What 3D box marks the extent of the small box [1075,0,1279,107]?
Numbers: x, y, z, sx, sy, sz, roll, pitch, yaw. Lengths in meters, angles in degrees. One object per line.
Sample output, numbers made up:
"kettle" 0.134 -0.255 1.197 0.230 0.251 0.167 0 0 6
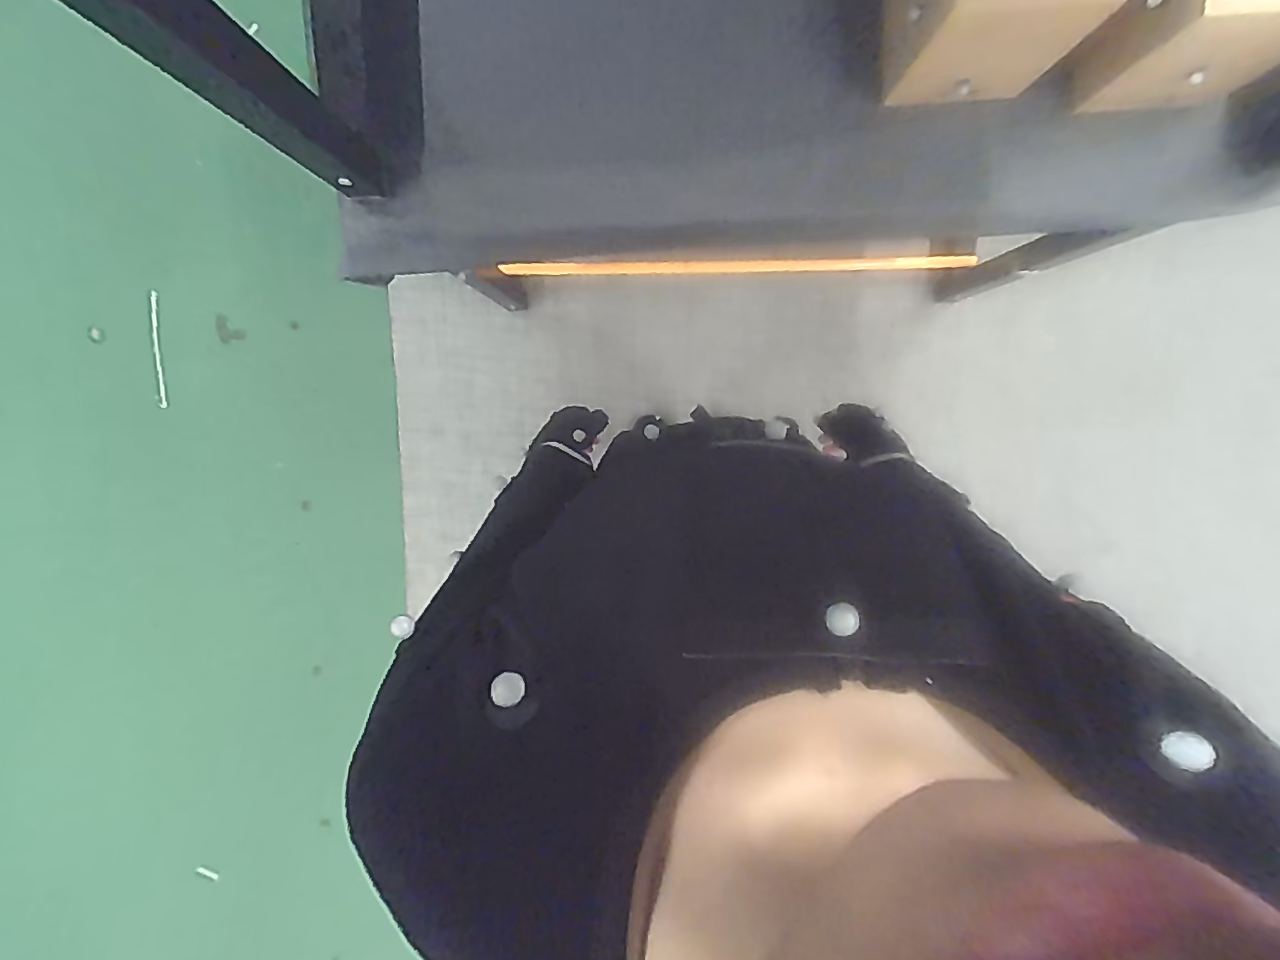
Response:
"small box" 0.613 -0.532 0.580 0.168 0.176 0.179 -2 97 2
